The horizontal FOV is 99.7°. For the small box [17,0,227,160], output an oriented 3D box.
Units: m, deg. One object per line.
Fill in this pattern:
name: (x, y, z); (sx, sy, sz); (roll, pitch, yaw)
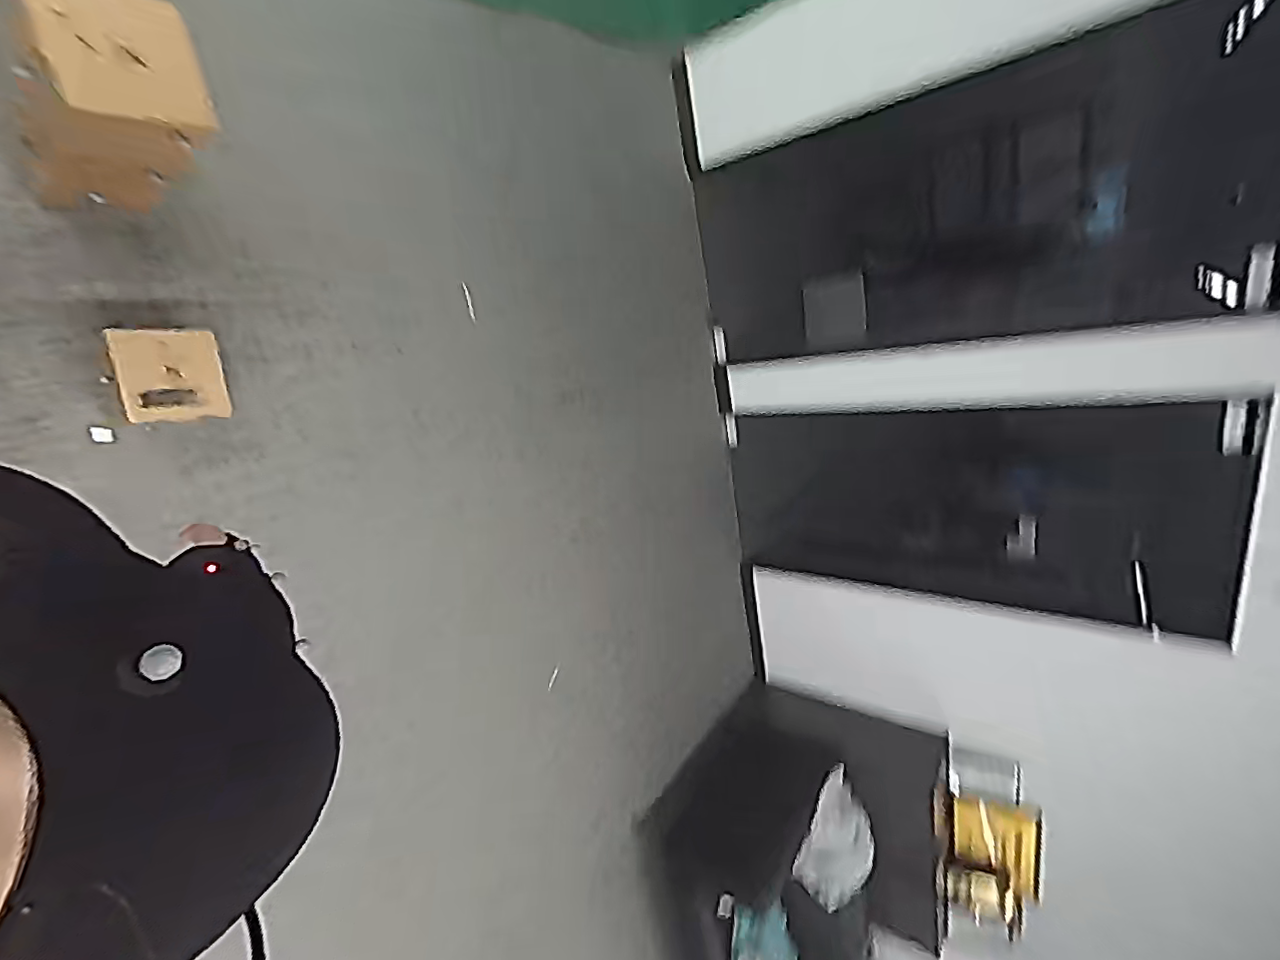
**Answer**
small box: (-0.766, -0.598, 0.803); (0.179, 0.176, 0.168); (-26, 112, -47)
